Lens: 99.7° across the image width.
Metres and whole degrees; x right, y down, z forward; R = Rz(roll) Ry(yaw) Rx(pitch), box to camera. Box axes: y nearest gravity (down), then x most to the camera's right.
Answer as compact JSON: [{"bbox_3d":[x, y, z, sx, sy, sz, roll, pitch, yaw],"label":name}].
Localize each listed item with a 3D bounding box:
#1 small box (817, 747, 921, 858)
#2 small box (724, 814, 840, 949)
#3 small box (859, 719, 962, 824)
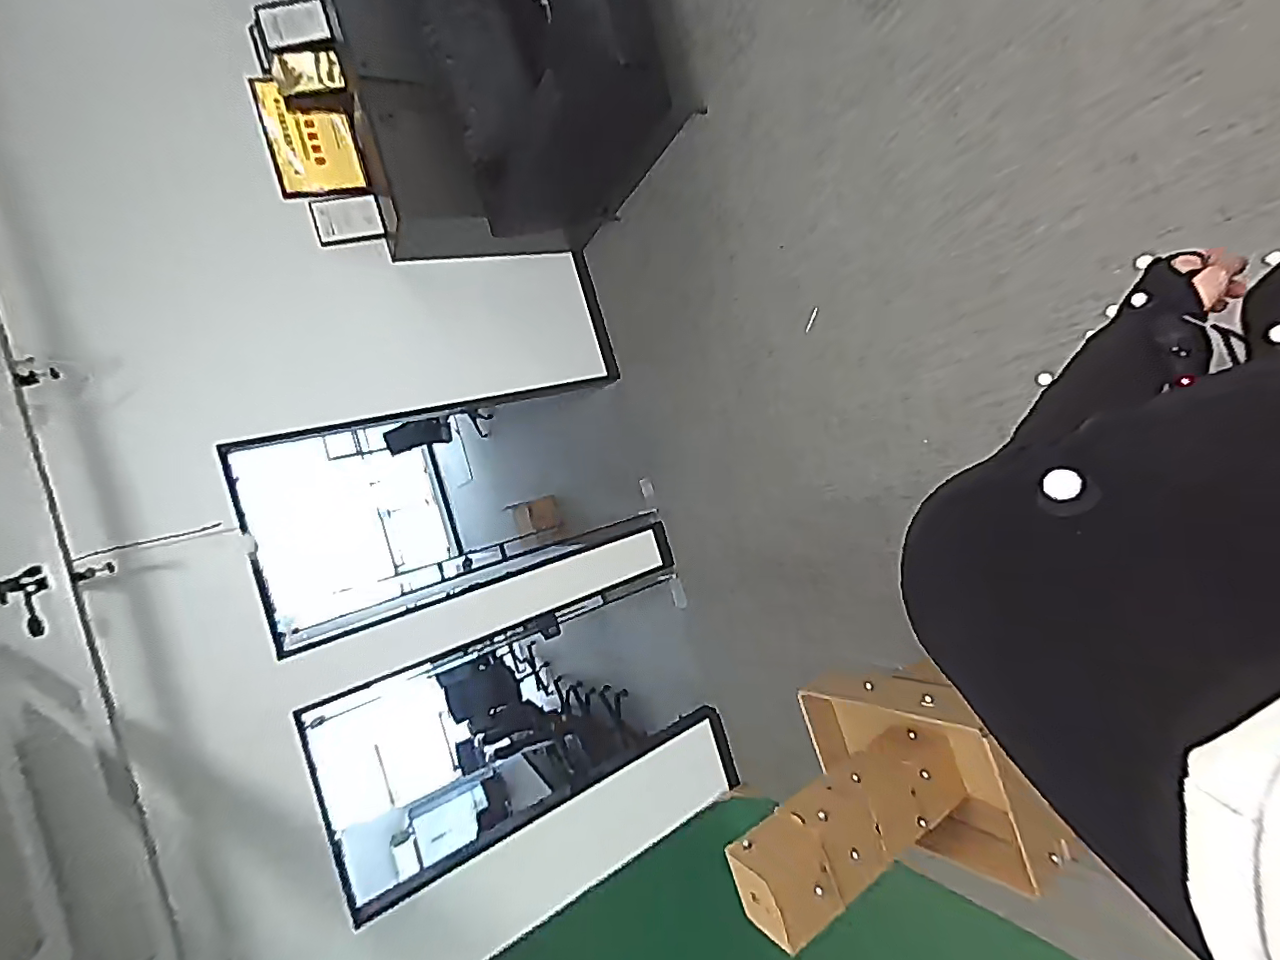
[{"bbox_3d":[0.613,0.841,1.434,0.179,0.176,0.168,-22,85,63],"label":"small box"},{"bbox_3d":[0.335,0.935,1.284,0.179,0.176,0.168,-25,83,63],"label":"small box"},{"bbox_3d":[0.755,0.800,1.505,0.168,0.176,0.179,-24,83,63],"label":"small box"}]
